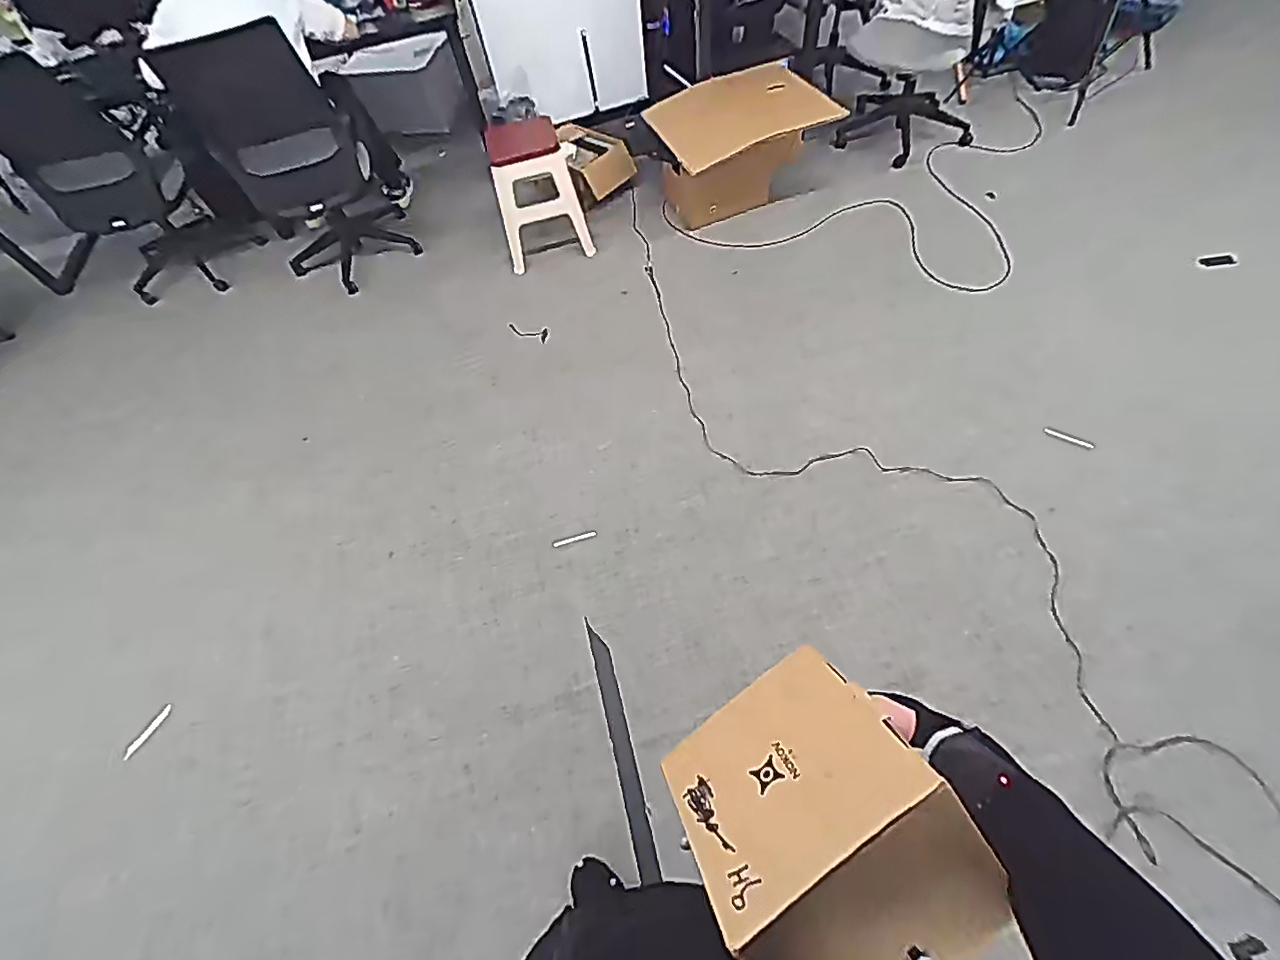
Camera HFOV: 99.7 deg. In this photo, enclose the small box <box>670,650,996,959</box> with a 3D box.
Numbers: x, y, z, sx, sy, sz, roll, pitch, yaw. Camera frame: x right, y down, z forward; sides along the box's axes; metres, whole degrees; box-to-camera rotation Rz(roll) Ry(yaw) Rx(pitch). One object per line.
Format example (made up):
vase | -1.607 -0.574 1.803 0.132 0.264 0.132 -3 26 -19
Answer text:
small box | 0.158 0.290 0.455 0.179 0.176 0.168 -38 20 -2
